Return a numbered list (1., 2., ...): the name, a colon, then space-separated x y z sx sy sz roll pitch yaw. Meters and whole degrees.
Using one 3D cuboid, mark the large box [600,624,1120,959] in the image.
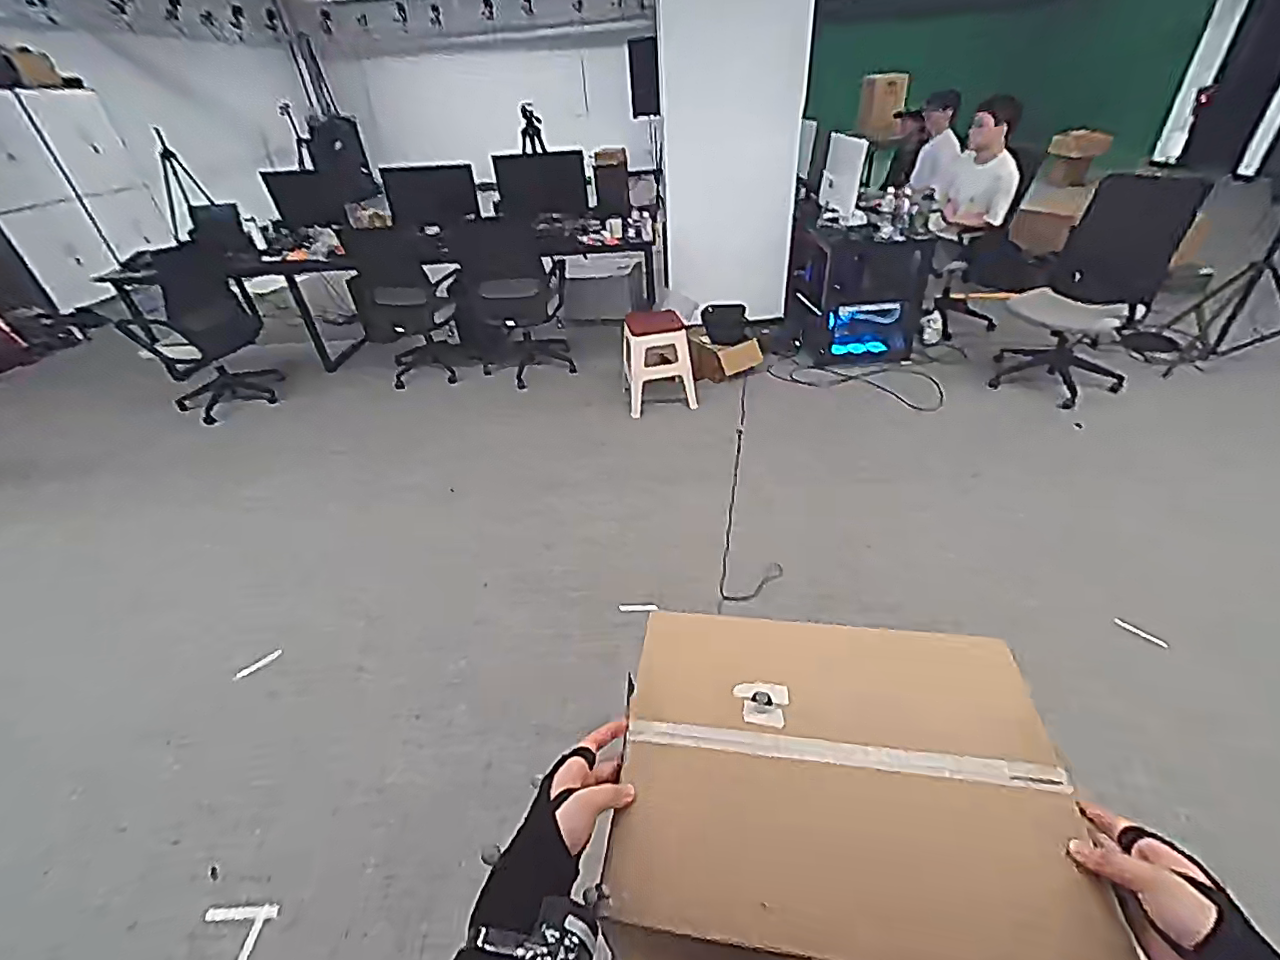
1. large box: 0.196 0.395 0.626 0.408 0.320 0.320 1 37 10
